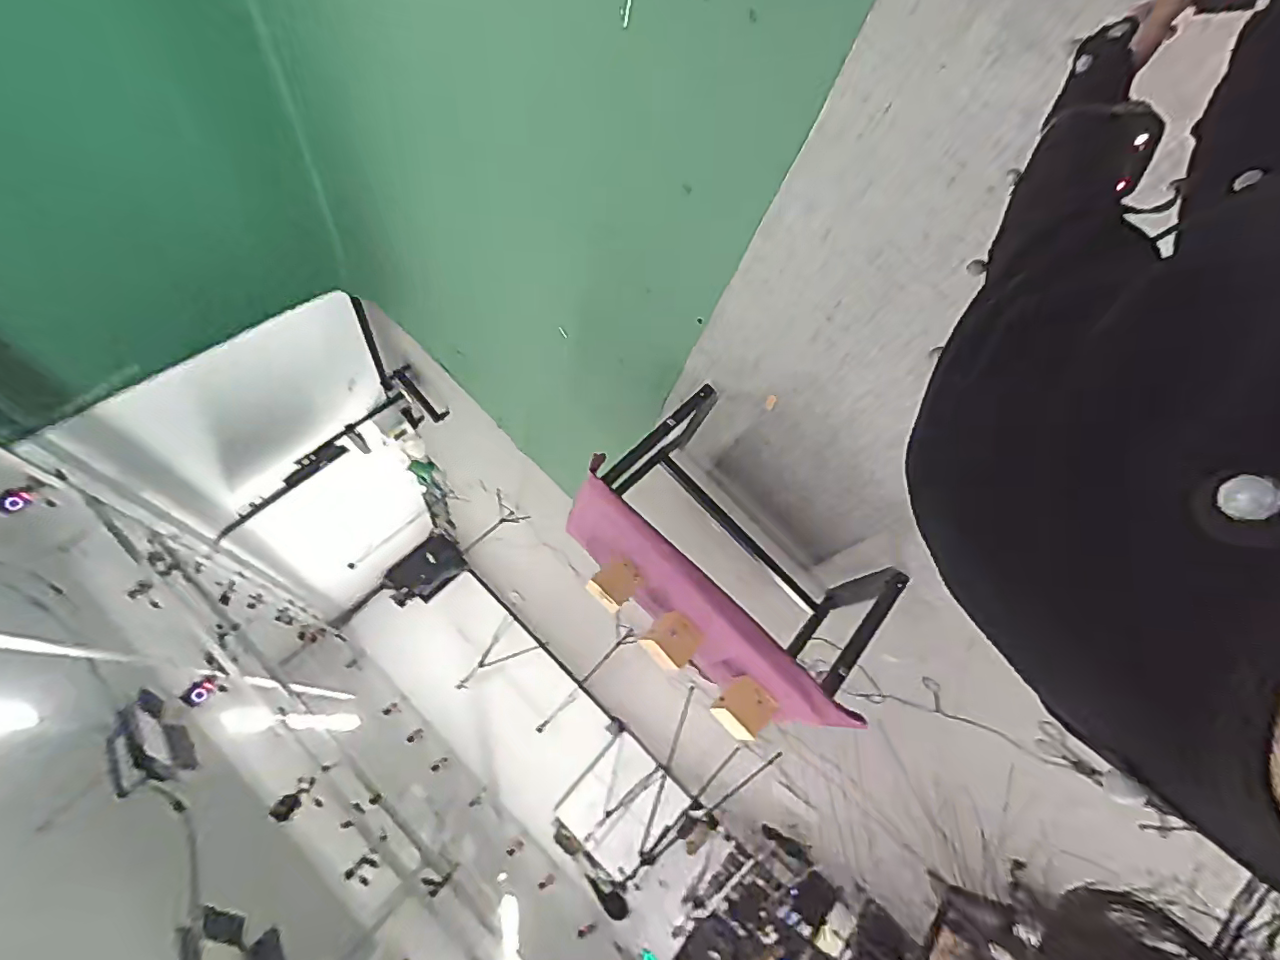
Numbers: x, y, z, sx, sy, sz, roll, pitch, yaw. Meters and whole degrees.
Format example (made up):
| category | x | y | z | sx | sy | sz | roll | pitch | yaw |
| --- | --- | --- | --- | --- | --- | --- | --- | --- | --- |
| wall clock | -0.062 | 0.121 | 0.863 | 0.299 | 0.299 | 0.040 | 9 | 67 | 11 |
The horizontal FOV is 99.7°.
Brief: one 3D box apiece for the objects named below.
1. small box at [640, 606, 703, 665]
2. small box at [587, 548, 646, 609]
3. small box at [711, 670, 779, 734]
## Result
| category | x | y | z | sx | sy | sz | roll | pitch | yaw |
| --- | --- | --- | --- | --- | --- | --- | --- | --- | --- |
| small box | 0.136 | 0.638 | 2.230 | 0.168 | 0.176 | 0.179 | 49 | 154 | -3 |
| small box | -0.096 | 0.410 | 2.258 | 0.168 | 0.176 | 0.179 | 44 | 155 | 7 |
| small box | 0.418 | 0.873 | 2.133 | 0.168 | 0.176 | 0.179 | 45 | 153 | 6 |
